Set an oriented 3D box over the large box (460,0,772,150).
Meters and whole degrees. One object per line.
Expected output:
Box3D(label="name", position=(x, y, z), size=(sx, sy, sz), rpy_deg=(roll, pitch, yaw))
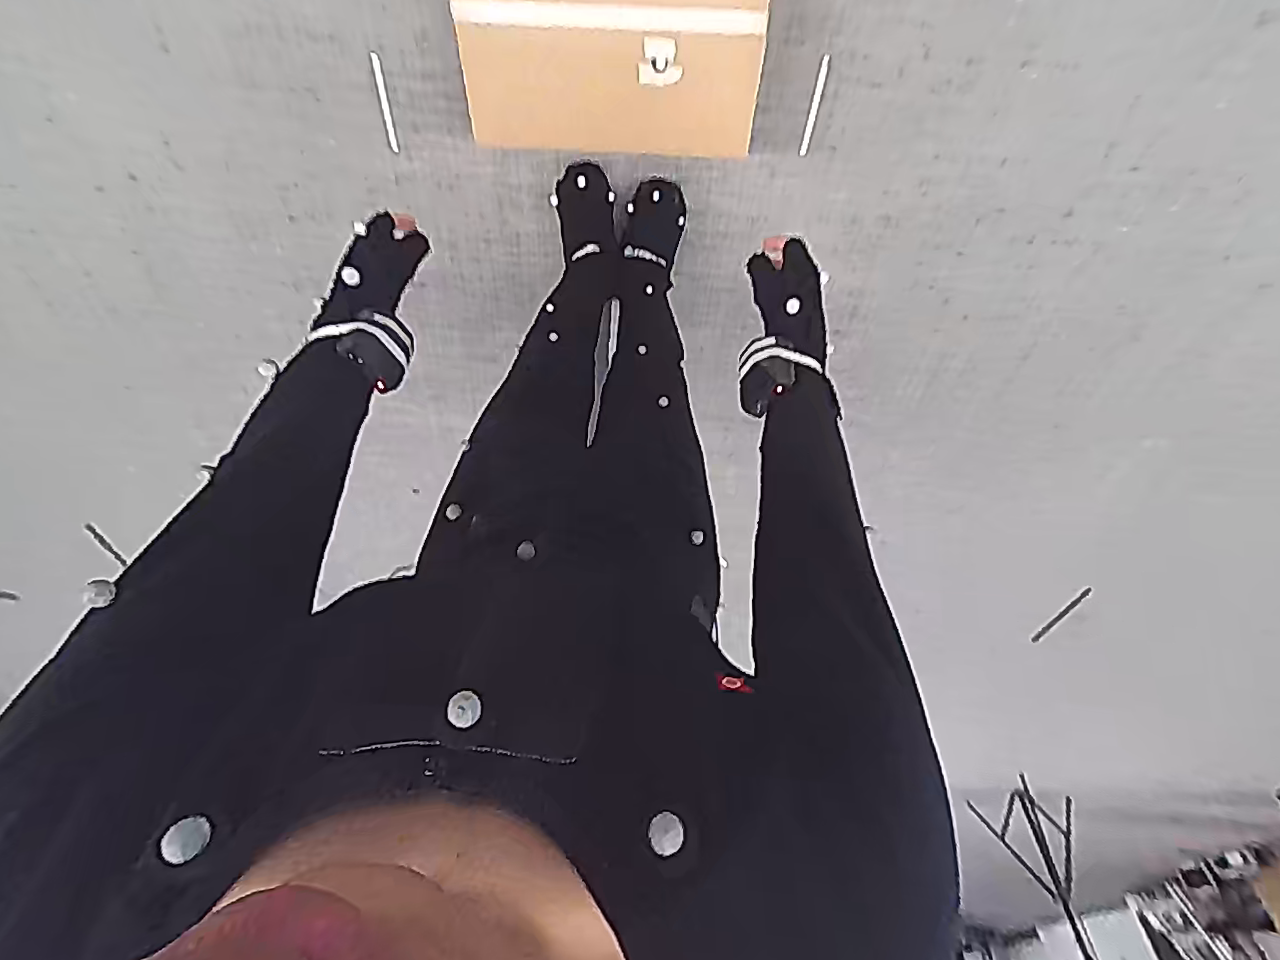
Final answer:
Box3D(label="large box", position=(-0.031, -0.702, 0.793), size=(0.408, 0.320, 0.320), rpy_deg=(2, 135, -1))
